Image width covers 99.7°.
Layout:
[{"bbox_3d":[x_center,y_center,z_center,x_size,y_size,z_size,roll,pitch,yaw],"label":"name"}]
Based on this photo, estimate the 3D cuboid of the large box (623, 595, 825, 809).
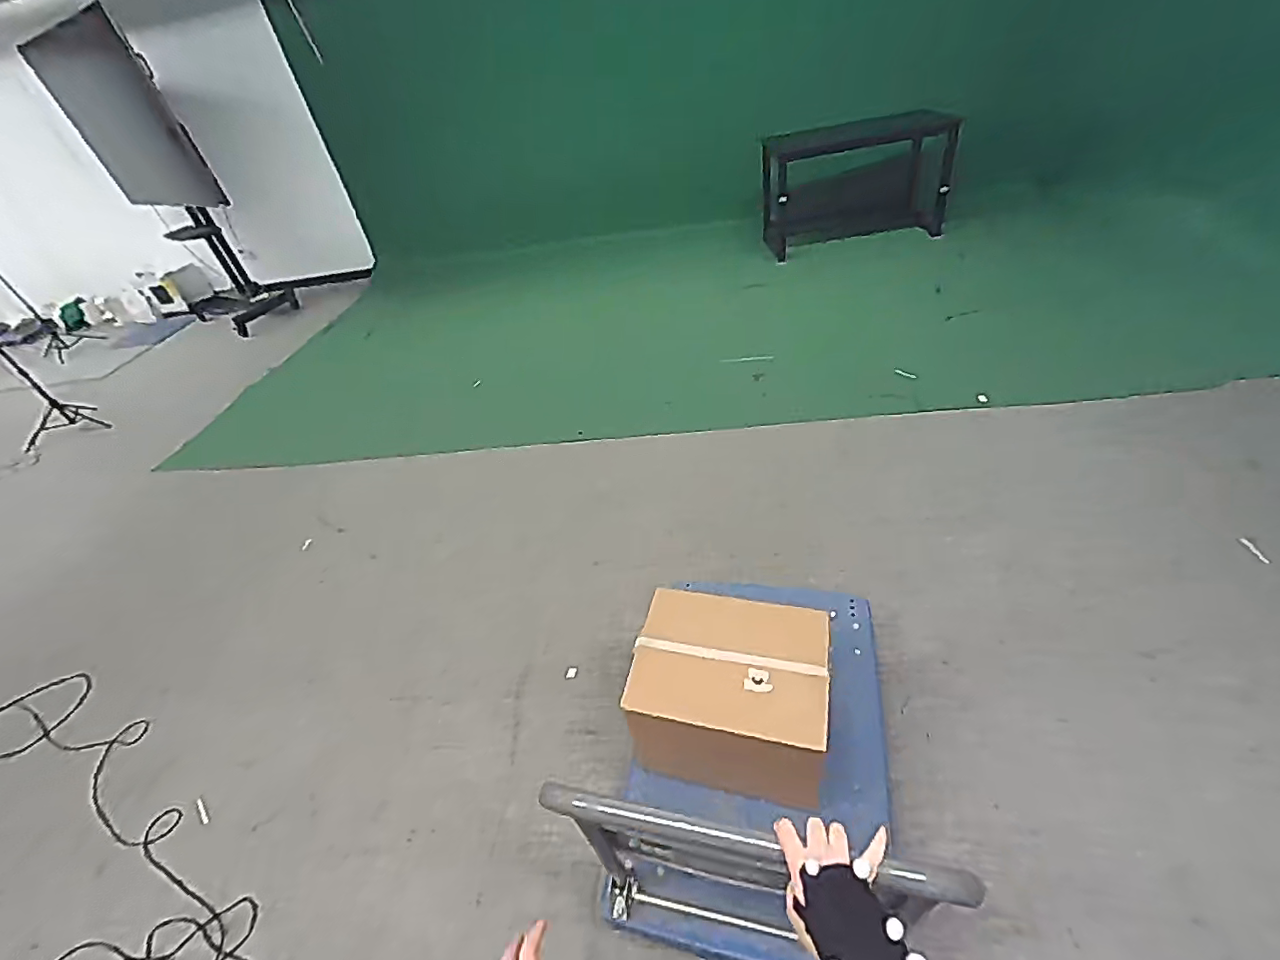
[{"bbox_3d":[0.207,0.508,1.264,0.408,0.320,0.320,5,42,16],"label":"large box"}]
